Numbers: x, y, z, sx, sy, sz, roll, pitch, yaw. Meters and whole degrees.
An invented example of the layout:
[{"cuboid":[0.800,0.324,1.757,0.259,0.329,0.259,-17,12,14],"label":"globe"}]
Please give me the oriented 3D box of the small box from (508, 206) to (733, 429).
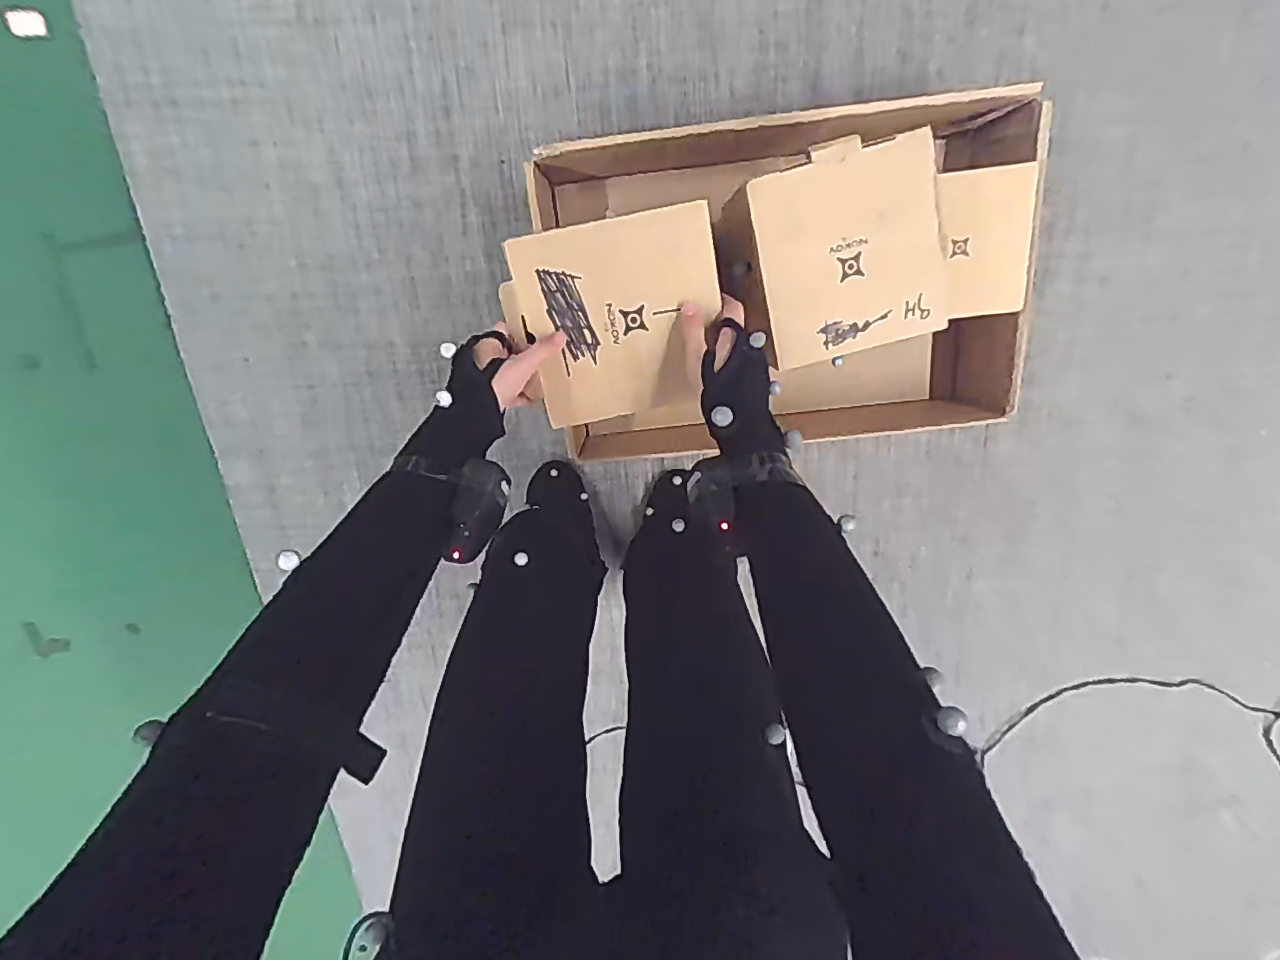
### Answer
[{"cuboid":[-0.017,-0.161,0.549,0.179,0.176,0.168,-11,109,-1],"label":"small box"}]
